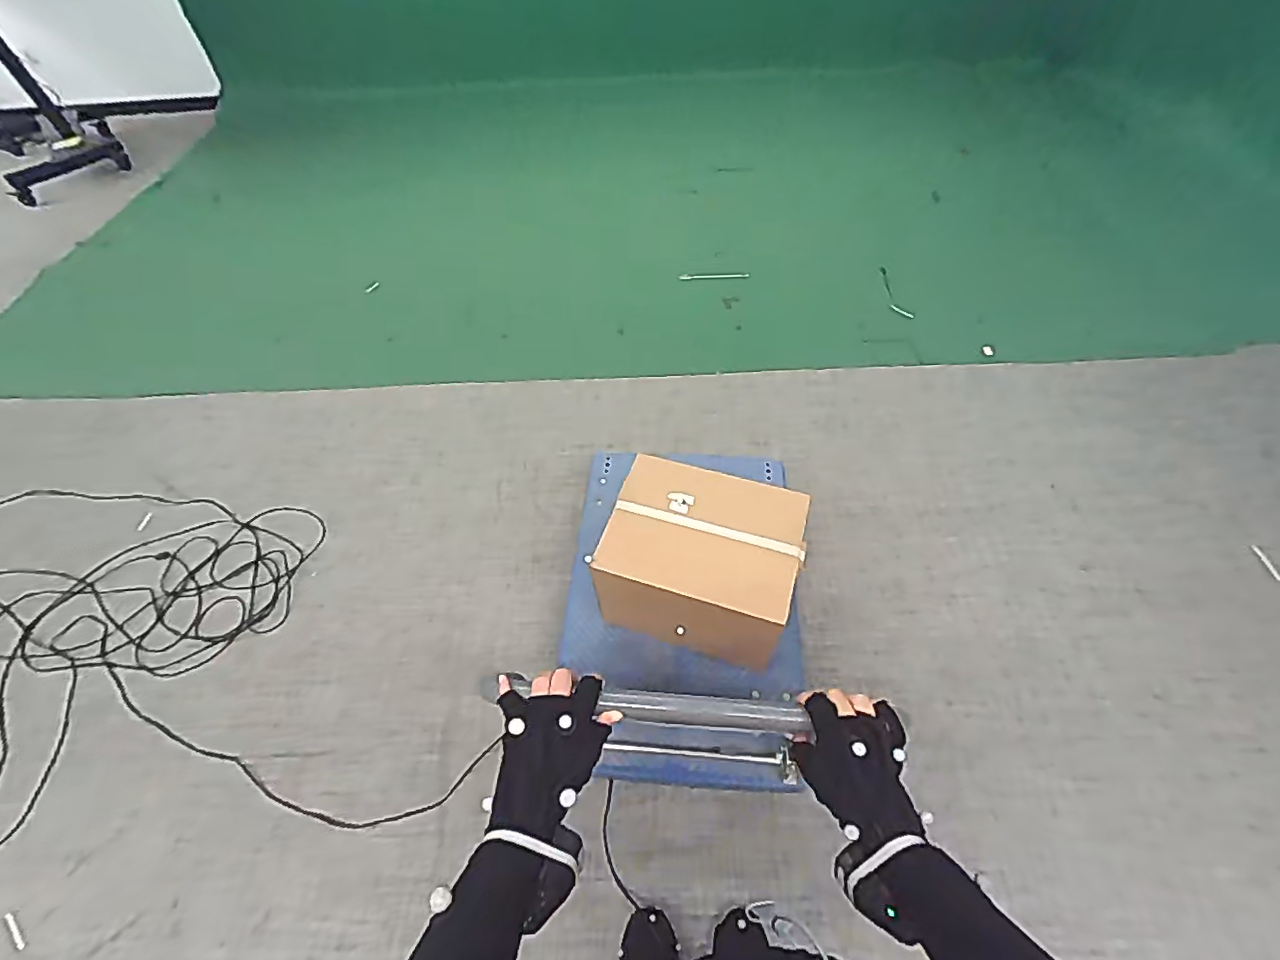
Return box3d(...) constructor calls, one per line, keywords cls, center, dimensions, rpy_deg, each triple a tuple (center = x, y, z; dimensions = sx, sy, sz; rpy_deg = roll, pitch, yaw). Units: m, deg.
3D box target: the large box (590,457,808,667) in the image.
box3d(cls="large box", center=(0.143, 0.194, 1.263), dimensions=(0.408, 0.320, 0.320), rpy_deg=(15, 57, 14))
